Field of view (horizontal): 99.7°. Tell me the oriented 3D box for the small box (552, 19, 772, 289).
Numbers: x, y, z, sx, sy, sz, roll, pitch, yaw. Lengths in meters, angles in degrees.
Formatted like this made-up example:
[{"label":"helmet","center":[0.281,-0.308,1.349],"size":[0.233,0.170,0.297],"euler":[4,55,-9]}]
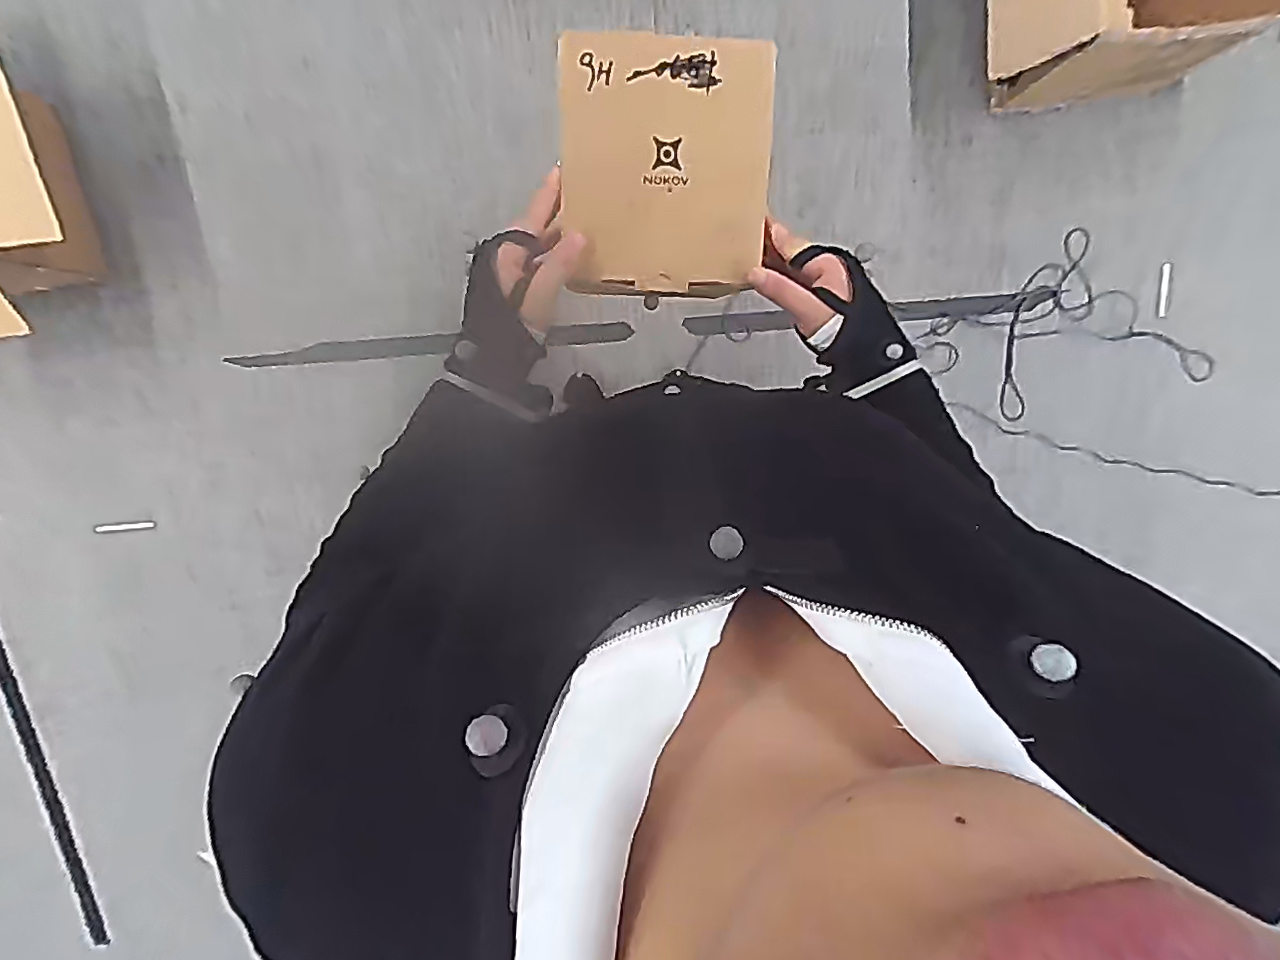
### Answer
[{"label":"small box","center":[0.009,-0.272,0.496],"size":[0.168,0.176,0.179],"euler":[1,107,-4]}]
